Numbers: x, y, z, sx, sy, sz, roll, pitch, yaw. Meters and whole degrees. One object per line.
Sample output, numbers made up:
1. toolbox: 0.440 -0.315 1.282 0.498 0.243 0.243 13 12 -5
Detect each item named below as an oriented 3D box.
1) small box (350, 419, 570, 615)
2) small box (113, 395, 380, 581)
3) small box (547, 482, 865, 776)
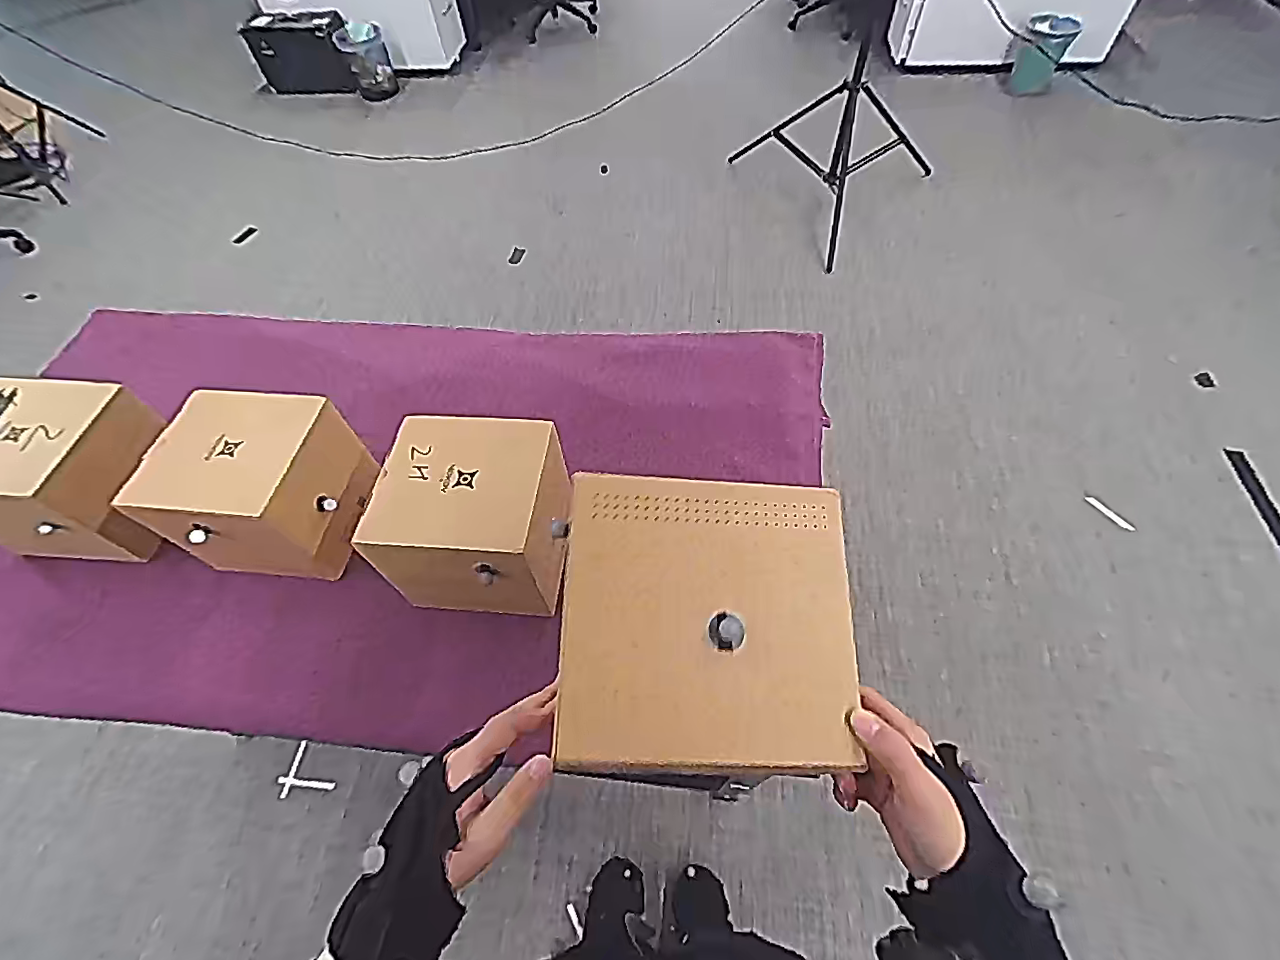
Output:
1. small box: -0.185 0.048 0.627 0.179 0.176 0.168 2 55 5
2. small box: -0.458 0.015 0.671 0.179 0.176 0.168 3 57 6
3. small box: 0.032 0.101 0.389 0.179 0.168 0.176 1 73 -4
